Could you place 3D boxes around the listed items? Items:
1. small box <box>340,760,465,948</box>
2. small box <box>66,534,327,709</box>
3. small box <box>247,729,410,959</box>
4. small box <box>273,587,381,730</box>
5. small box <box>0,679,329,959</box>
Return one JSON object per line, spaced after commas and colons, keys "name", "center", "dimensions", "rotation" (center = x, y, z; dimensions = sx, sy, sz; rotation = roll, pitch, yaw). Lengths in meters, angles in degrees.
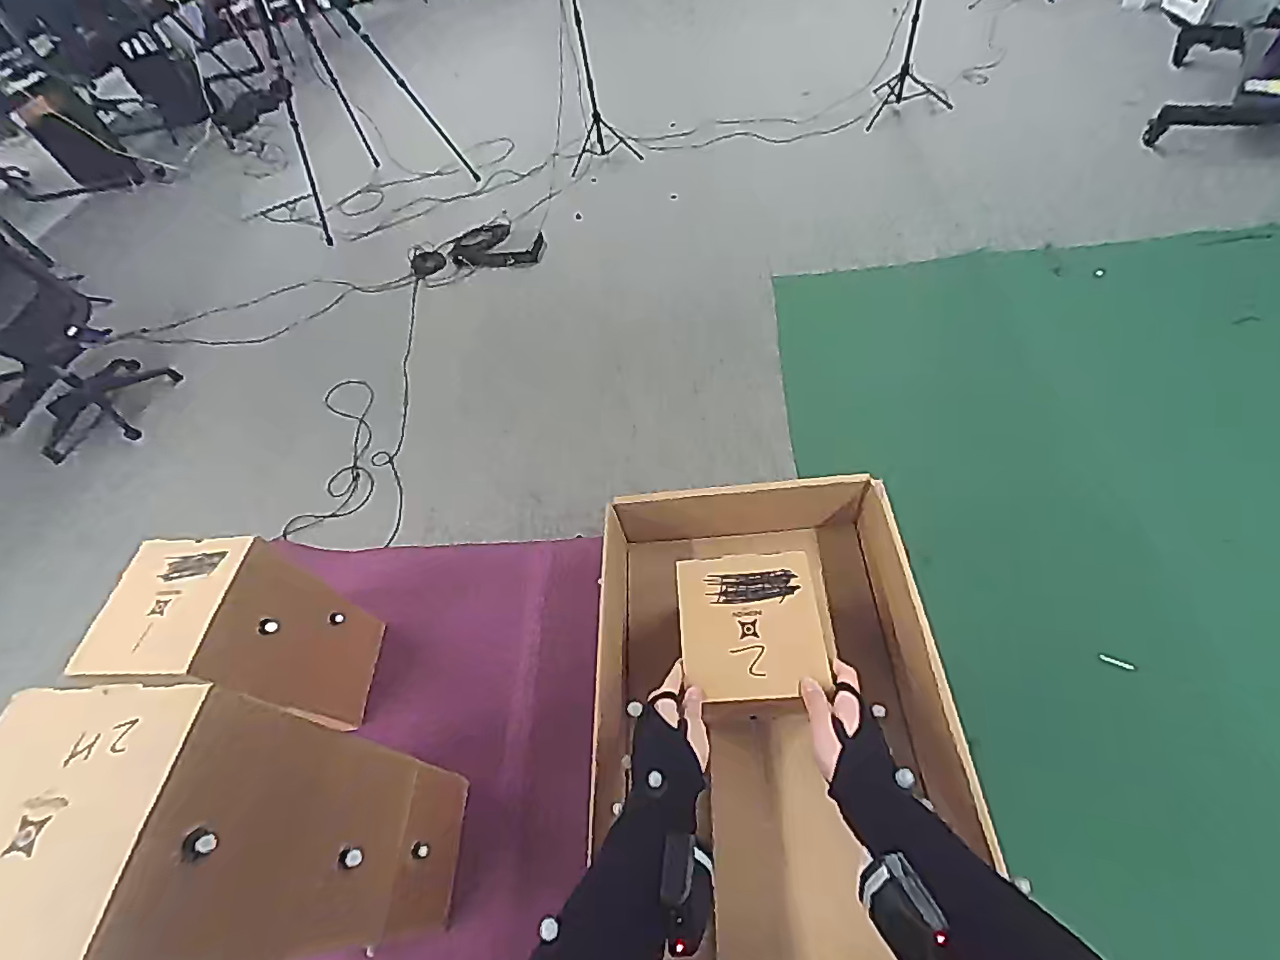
{"name": "small box", "center": [-0.339, 0.462, 0.678], "dimensions": [0.168, 0.176, 0.179], "rotation": [-4, 53, 7]}
{"name": "small box", "center": [-0.554, 0.188, 0.711], "dimensions": [0.168, 0.176, 0.179], "rotation": [-3, 55, 9]}
{"name": "small box", "center": [-0.362, 0.363, 0.549], "dimensions": [0.168, 0.176, 0.179], "rotation": [-4, 54, 6]}
{"name": "small box", "center": [-0.536, 0.286, 0.842], "dimensions": [0.168, 0.176, 0.179], "rotation": [-6, 53, 6]}
{"name": "small box", "center": [-0.382, 0.266, 0.417], "dimensions": [0.168, 0.176, 0.179], "rotation": [-3, 53, 7]}
